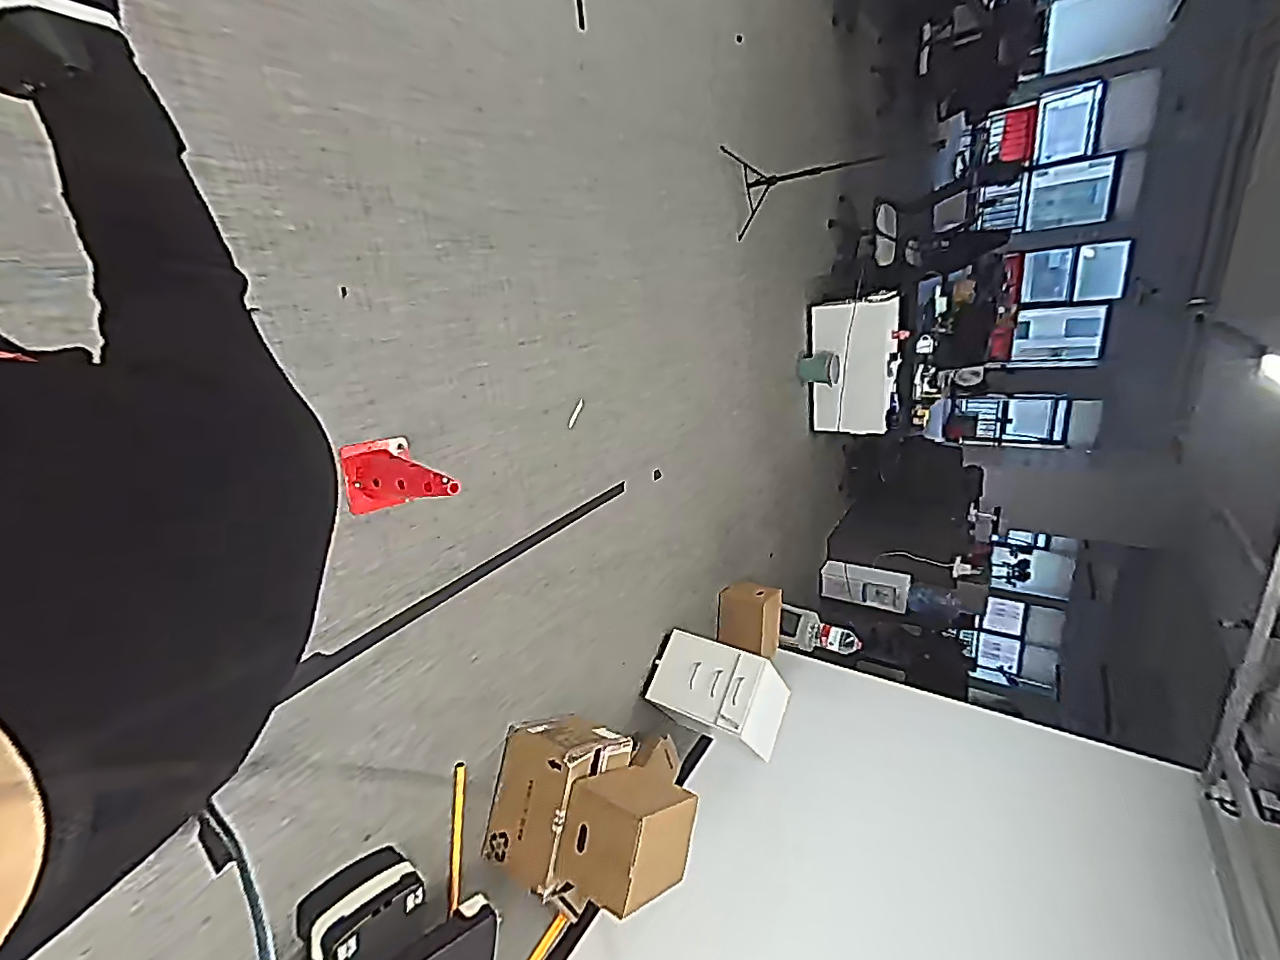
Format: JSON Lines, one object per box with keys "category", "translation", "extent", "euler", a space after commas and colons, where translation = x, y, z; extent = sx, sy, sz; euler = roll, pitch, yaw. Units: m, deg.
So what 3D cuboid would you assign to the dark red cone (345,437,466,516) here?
{"category": "dark red cone", "translation": [-0.601, 0.003, 1.450], "extent": [0.201, 0.394, 0.202], "euler": [-22, 114, -50]}
